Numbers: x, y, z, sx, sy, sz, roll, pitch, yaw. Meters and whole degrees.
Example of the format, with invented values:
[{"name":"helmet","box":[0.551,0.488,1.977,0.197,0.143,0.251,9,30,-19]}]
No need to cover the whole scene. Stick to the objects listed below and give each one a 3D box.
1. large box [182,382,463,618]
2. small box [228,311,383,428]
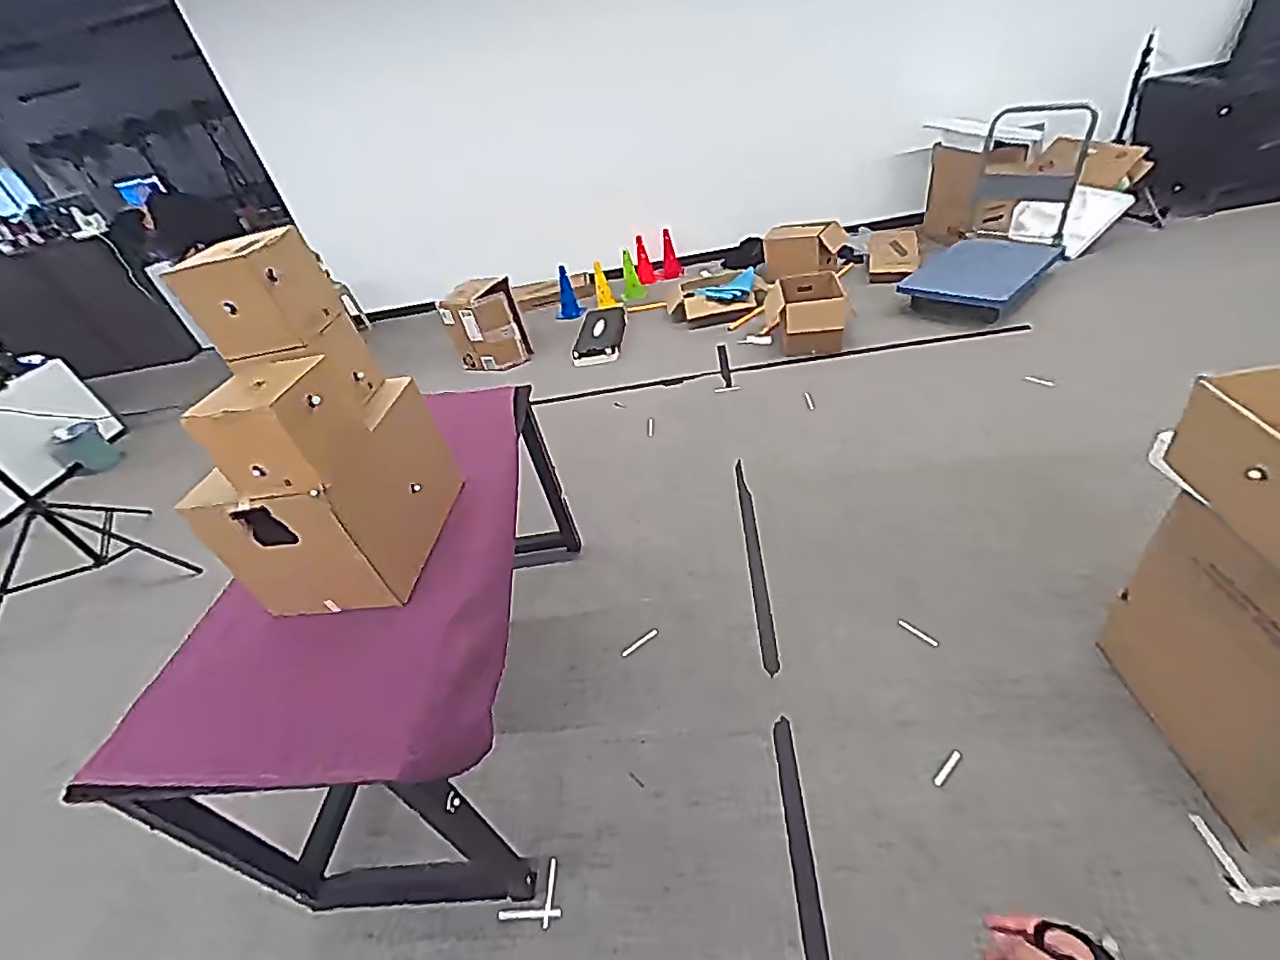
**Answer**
[{"name":"large box","box":[-0.632,0.037,1.178,0.320,0.320,0.408,-8,39,10]},{"name":"small box","box":[-0.673,-0.222,1.112,0.179,0.176,0.168,-7,40,9]}]
